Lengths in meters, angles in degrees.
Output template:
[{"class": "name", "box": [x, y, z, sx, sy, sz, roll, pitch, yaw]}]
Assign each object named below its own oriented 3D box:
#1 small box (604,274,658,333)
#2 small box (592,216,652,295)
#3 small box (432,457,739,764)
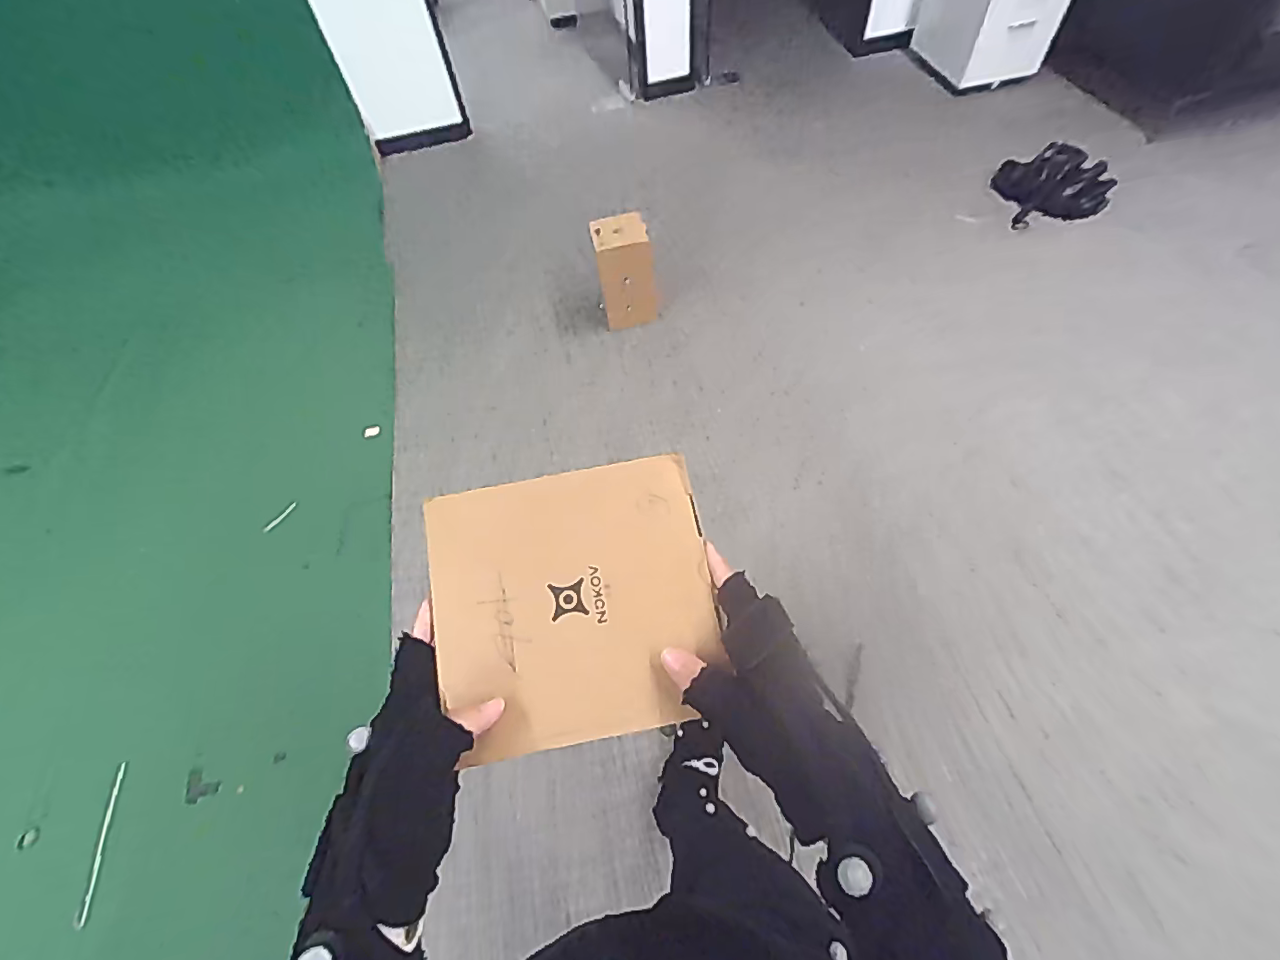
[{"class": "small box", "box": [-0.036, -0.661, 1.951, 0.179, 0.176, 0.168, -14, 58, -4]}, {"class": "small box", "box": [-0.057, -0.751, 1.816, 0.179, 0.176, 0.168, -11, 58, -2]}, {"class": "small box", "box": [-0.039, 0.099, 0.419, 0.179, 0.176, 0.168, -12, 72, -2]}]
